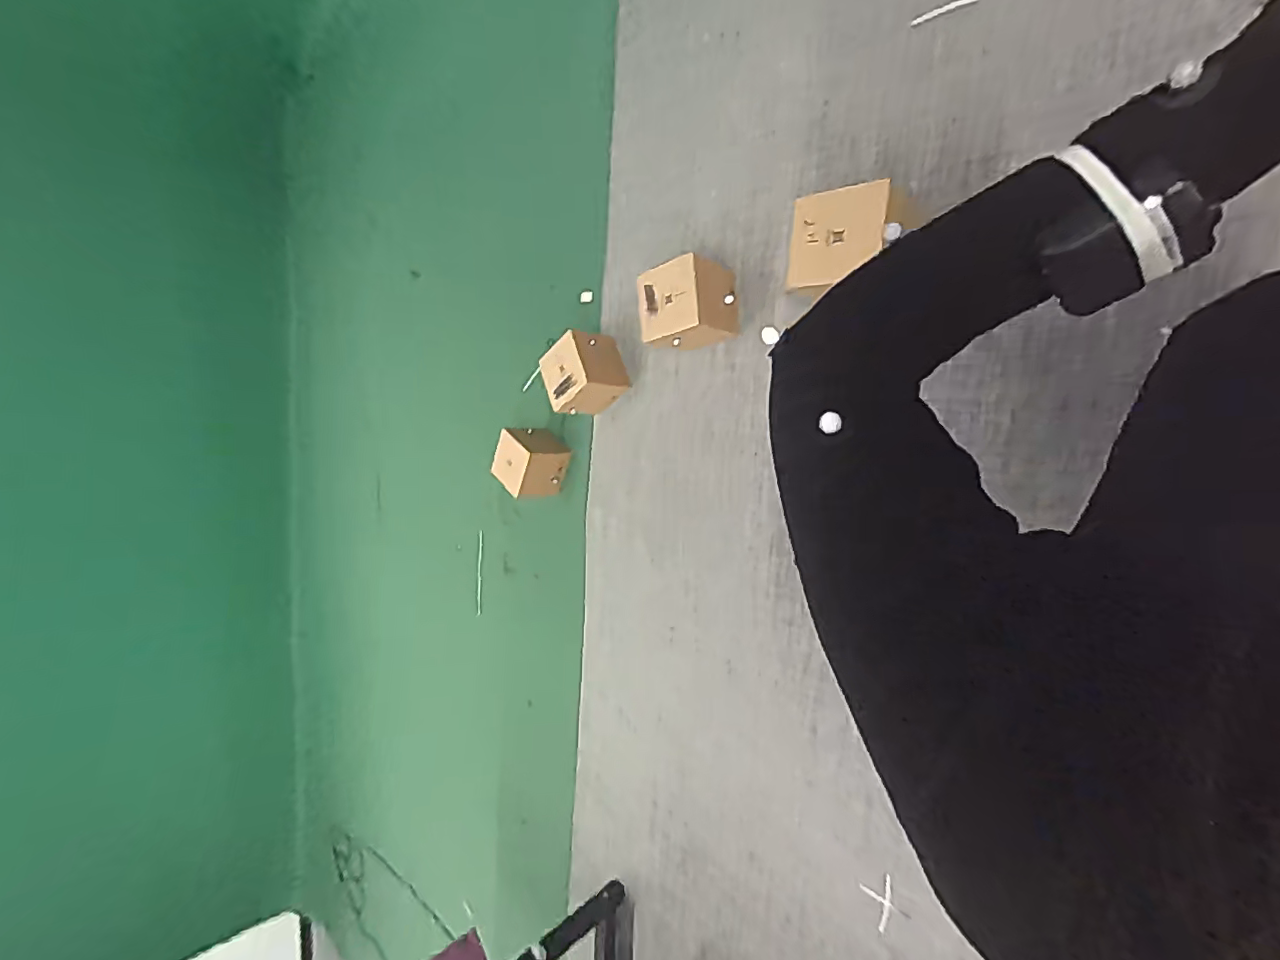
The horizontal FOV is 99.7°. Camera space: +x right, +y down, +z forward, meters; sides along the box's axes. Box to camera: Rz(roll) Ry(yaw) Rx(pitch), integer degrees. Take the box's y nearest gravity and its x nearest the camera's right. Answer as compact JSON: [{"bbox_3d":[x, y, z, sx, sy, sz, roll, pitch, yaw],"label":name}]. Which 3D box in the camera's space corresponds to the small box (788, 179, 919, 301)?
[{"bbox_3d":[0.410,-0.444,1.031,0.179,0.176,0.168,12,100,42],"label":"small box"}]

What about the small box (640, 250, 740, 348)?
[{"bbox_3d":[0.121,-0.425,1.304,0.179,0.176,0.168,-5,89,43],"label":"small box"}]

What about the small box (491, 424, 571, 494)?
[{"bbox_3d":[-0.359,-0.069,1.785,0.179,0.176,0.168,41,119,34],"label":"small box"}]
